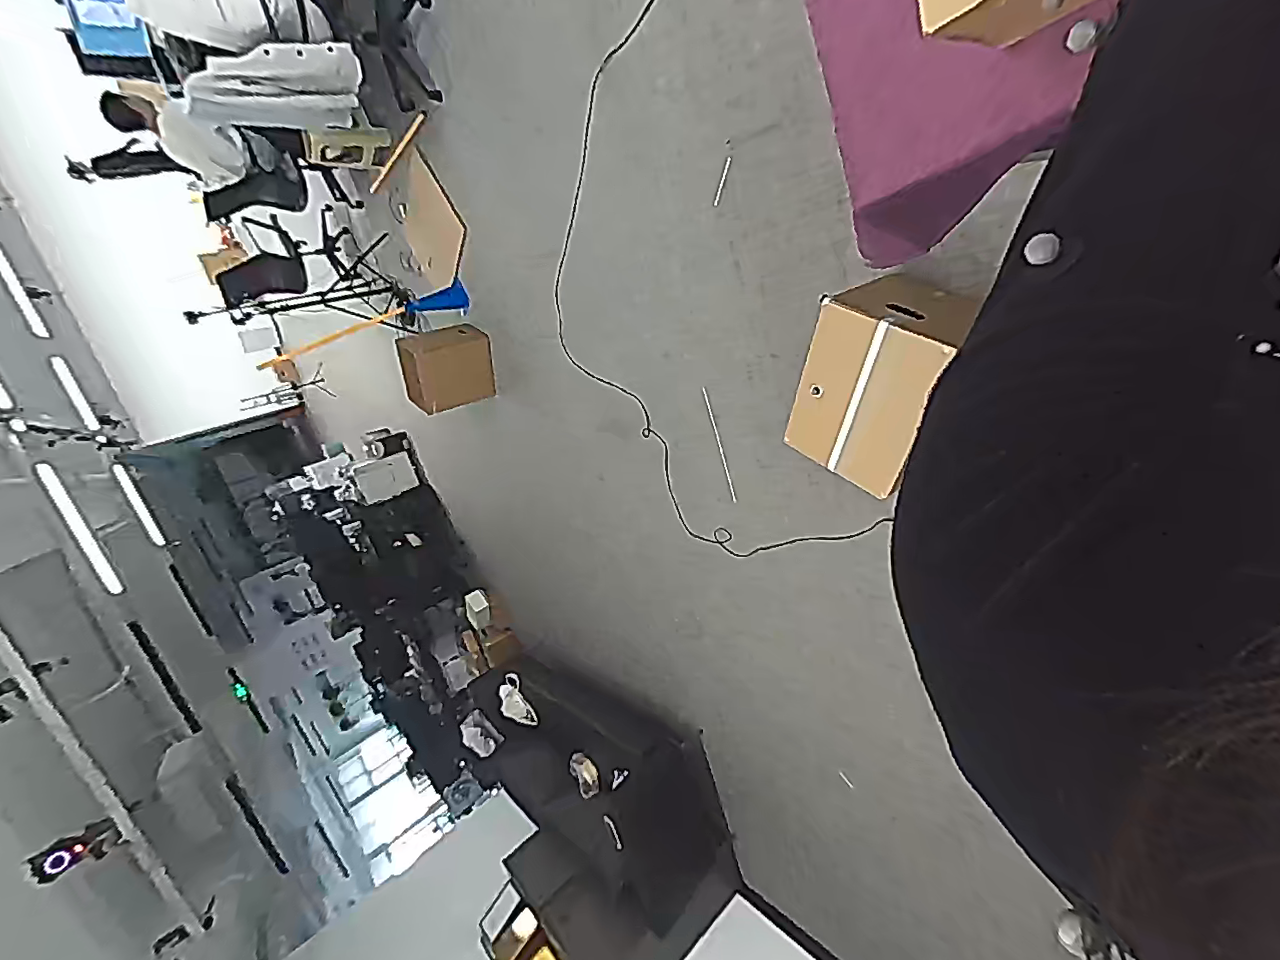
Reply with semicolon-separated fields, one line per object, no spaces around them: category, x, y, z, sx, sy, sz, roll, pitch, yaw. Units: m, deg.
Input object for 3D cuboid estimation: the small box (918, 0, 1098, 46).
small box;0.331;-0.470;0.413;0.179;0.176;0.168;4;116;53
